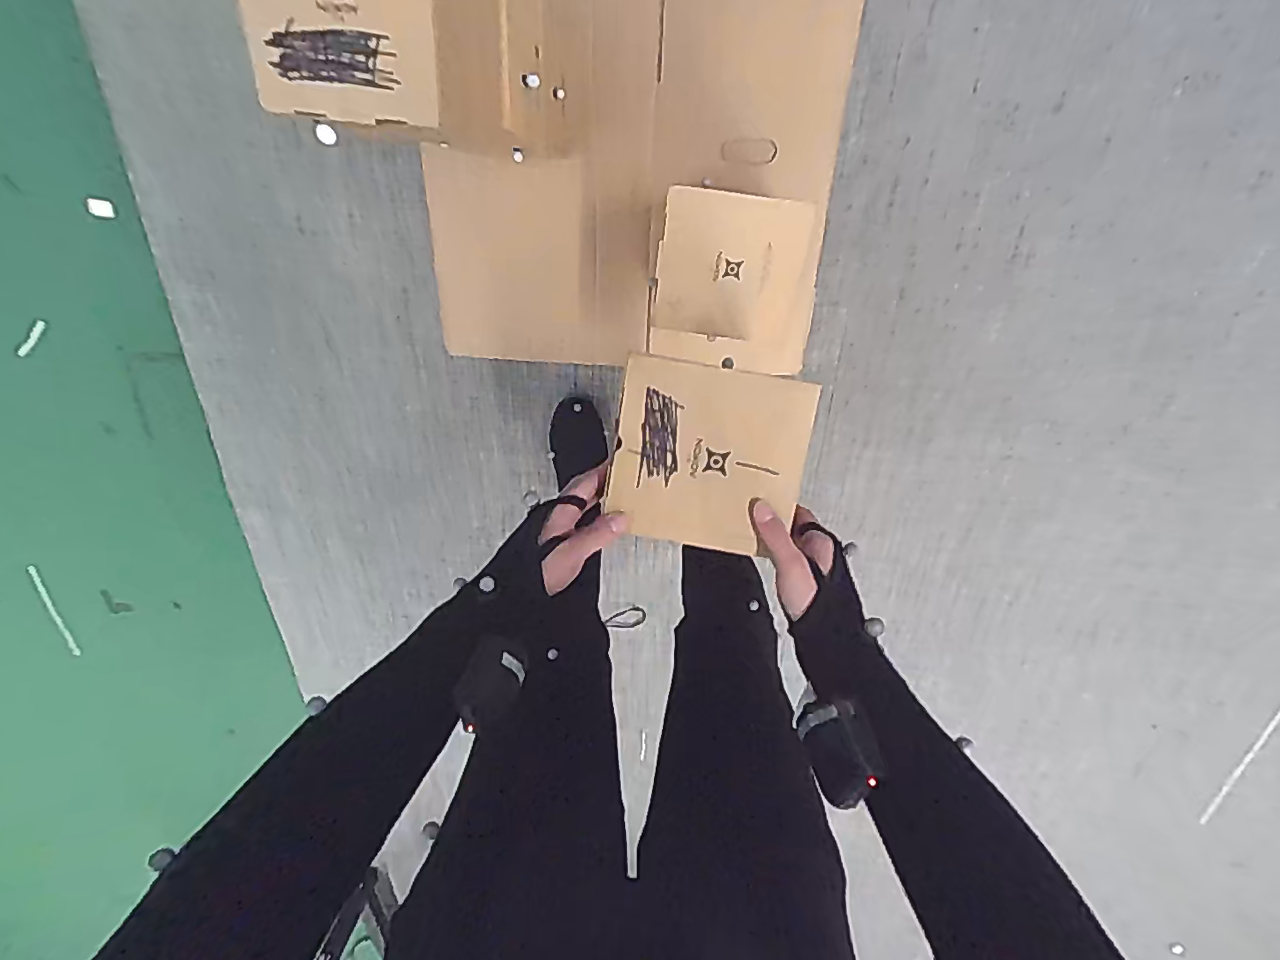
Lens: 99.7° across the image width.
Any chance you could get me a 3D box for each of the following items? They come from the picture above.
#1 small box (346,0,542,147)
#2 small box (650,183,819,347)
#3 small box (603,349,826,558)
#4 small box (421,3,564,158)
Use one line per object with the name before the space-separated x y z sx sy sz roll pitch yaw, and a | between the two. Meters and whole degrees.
small box | -0.218 -0.506 0.647 0.179 0.176 0.168 6 117 4
small box | 0.115 -0.288 0.723 0.179 0.176 0.168 9 117 1
small box | 0.069 -0.033 0.566 0.179 0.176 0.168 10 99 2
small box | -0.211 -0.578 0.792 0.179 0.176 0.168 5 116 3
